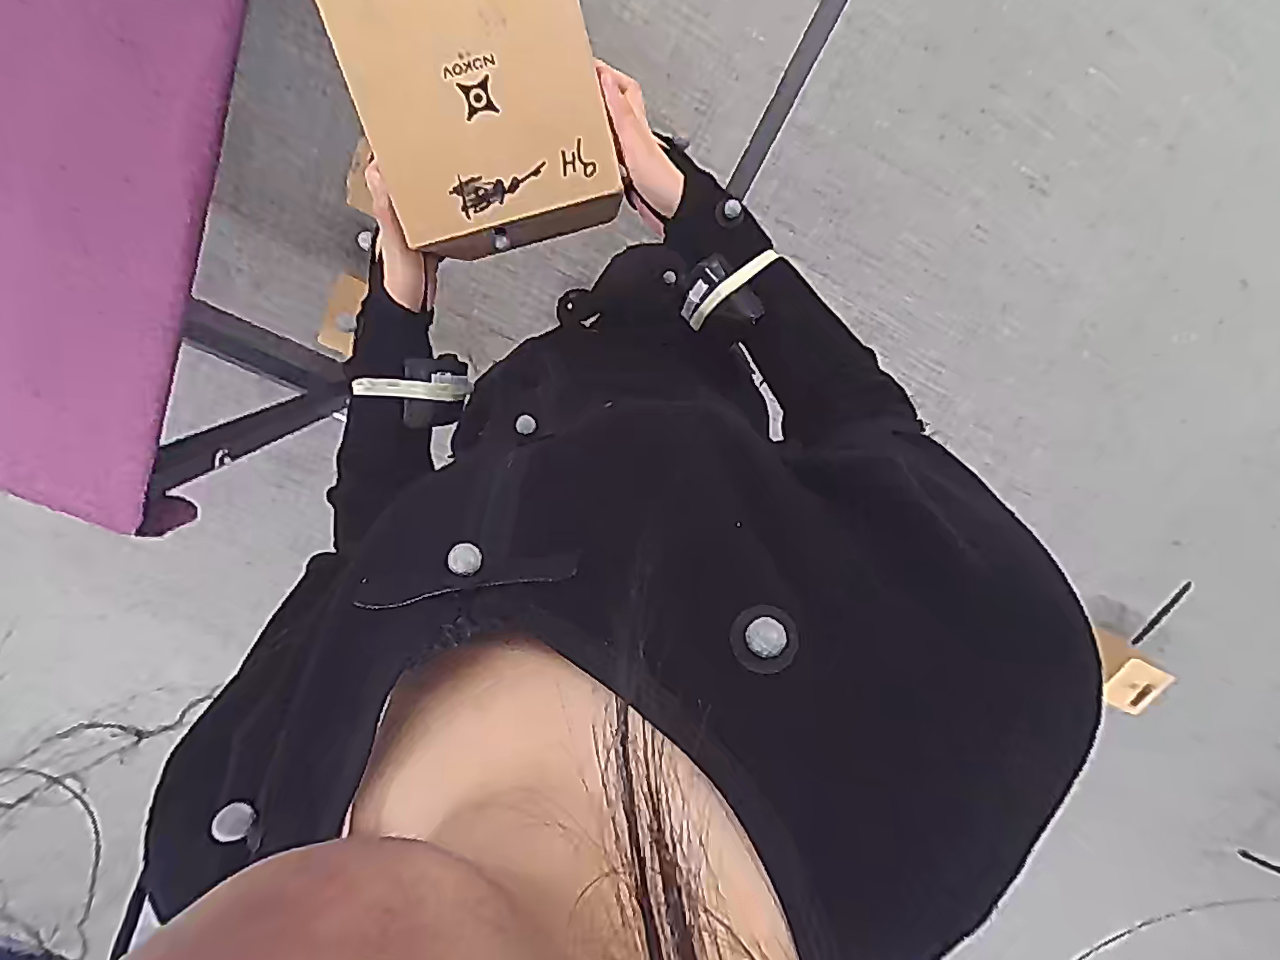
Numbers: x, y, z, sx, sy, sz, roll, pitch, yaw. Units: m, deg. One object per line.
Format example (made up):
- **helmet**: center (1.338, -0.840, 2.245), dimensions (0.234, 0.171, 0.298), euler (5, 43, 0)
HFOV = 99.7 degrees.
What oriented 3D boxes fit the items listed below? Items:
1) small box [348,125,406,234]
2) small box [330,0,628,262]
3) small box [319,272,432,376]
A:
- **small box**: center (-0.504, -0.640, 1.199), dimensions (0.179, 0.176, 0.168), euler (24, 109, -11)
- **small box**: center (-0.112, -0.291, 0.442), dimensions (0.168, 0.176, 0.179), euler (-14, 109, 0)
- **small box**: center (-0.625, -0.377, 1.298), dimensions (0.168, 0.176, 0.179), euler (27, 107, -11)
